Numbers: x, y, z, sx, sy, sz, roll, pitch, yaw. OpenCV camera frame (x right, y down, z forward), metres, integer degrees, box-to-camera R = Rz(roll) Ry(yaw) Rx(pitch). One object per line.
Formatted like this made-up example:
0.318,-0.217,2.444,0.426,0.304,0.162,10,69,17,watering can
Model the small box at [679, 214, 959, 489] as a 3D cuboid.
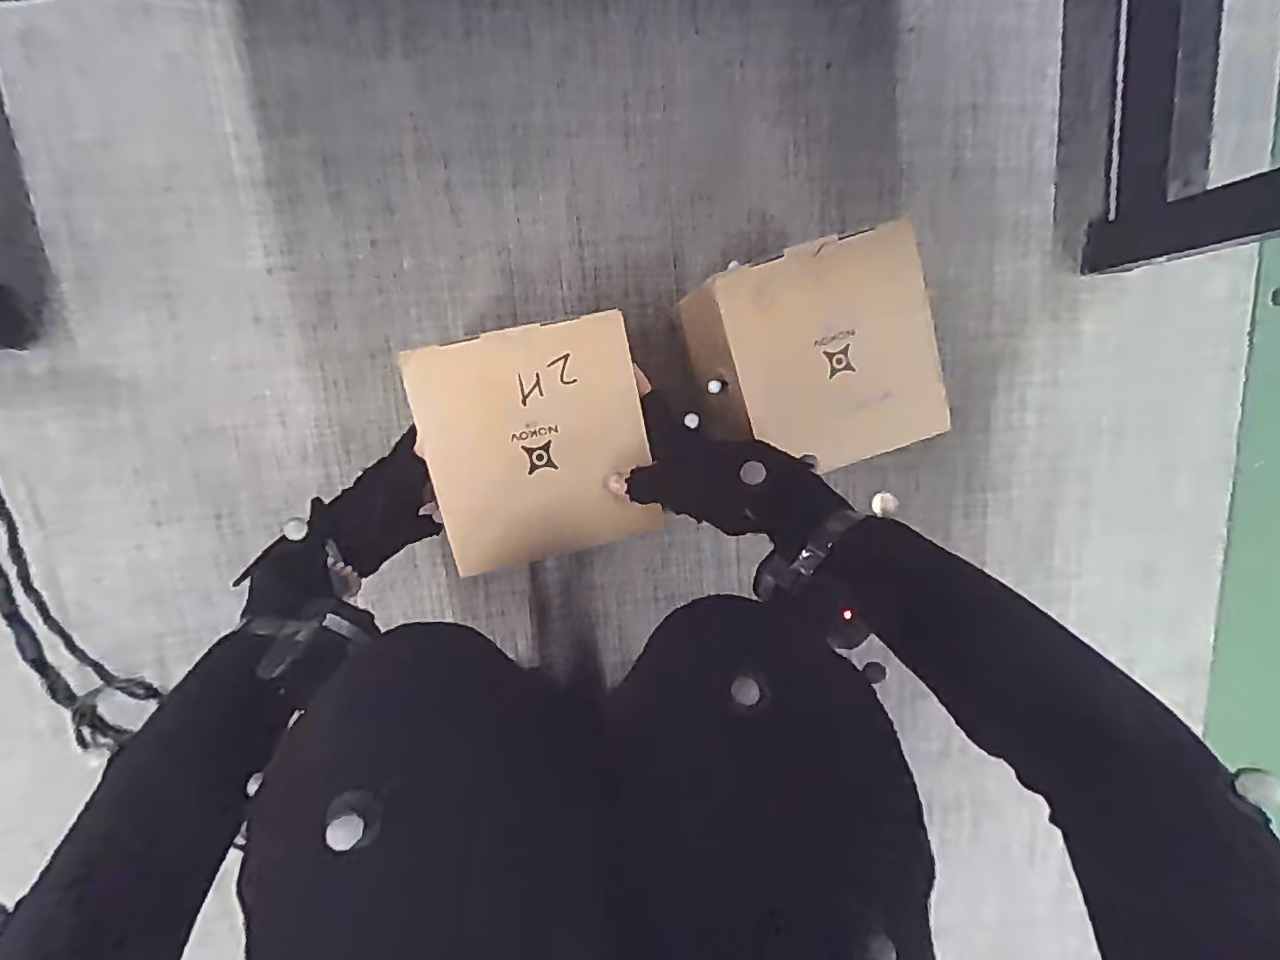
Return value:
0.146,-0.108,0.494,0.168,0.176,0.179,-18,101,-4,small box
